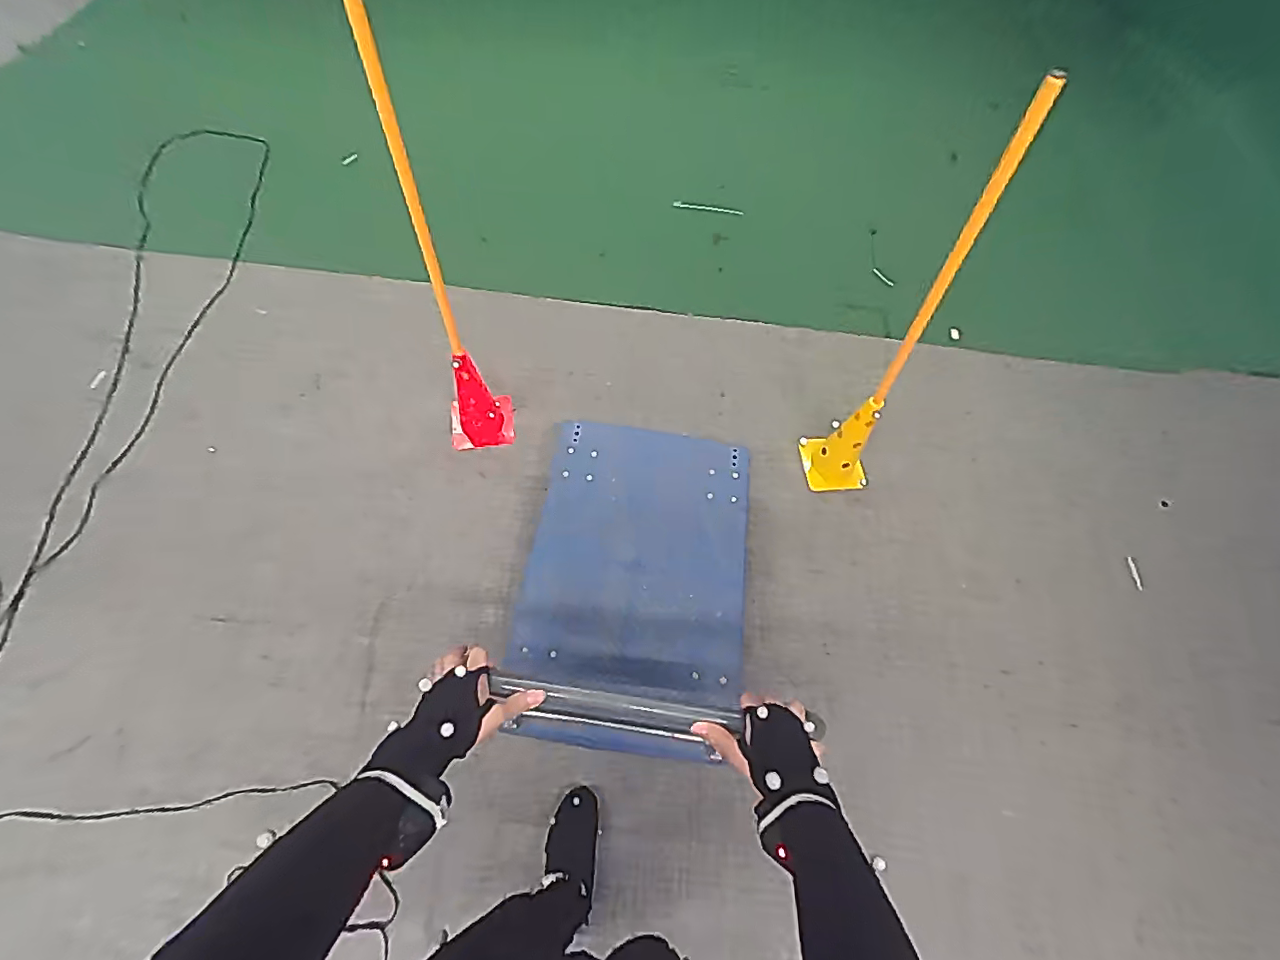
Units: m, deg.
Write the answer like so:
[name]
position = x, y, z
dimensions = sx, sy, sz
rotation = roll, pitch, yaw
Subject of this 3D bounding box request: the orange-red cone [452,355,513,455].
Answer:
[orange-red cone]
position = -0.519, -0.253, 1.667
dimensions = 0.199, 0.360, 0.198
rotation = -7, 62, -6
